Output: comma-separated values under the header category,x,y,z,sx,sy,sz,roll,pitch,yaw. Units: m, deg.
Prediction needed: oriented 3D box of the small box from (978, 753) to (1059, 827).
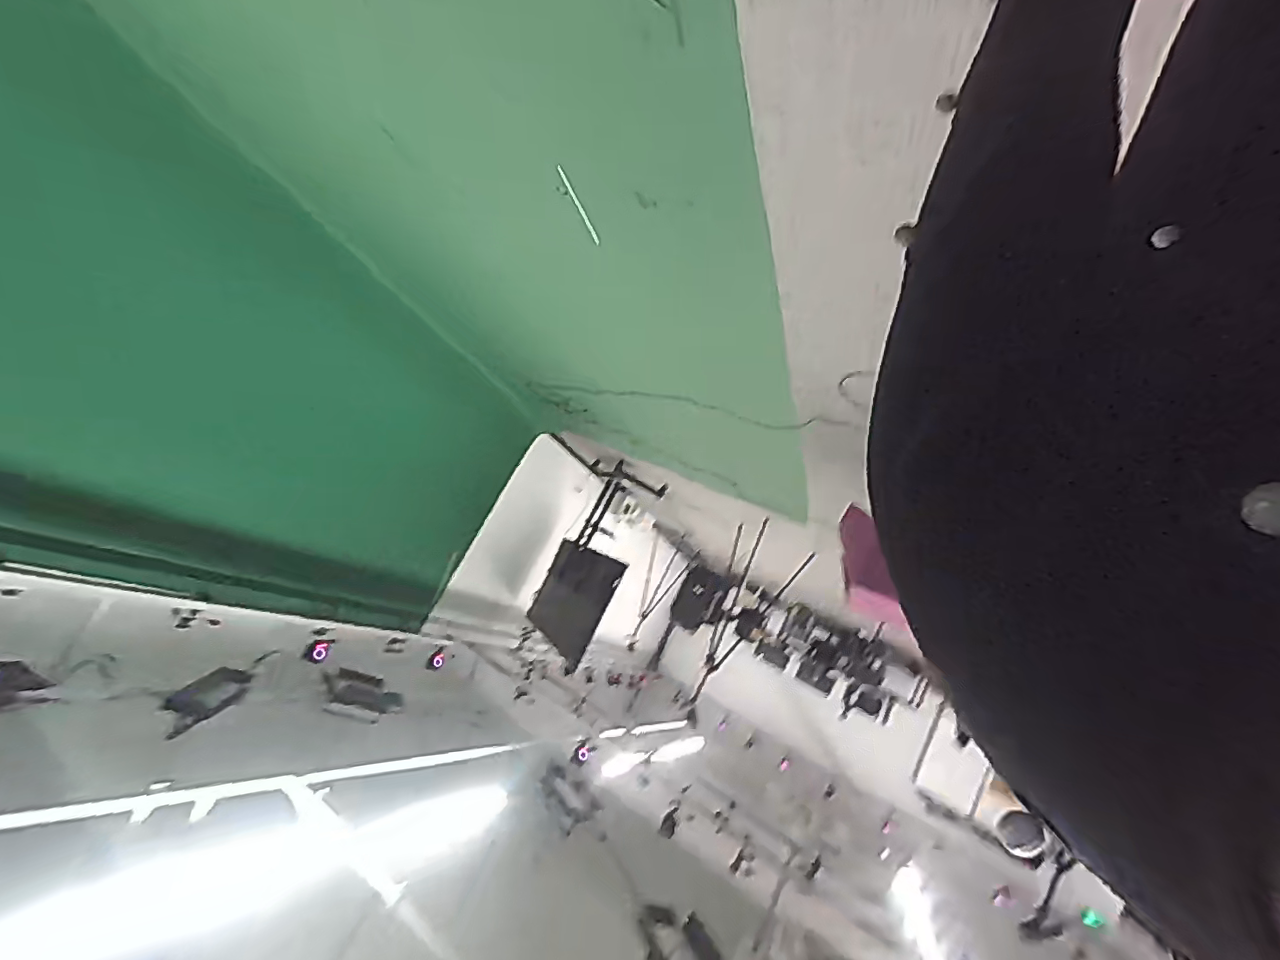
category,x,y,z,sx,sy,sz,roll,pitch,yaw
small box,1.470,1.196,2.103,0.179,0.176,0.168,27,169,7
